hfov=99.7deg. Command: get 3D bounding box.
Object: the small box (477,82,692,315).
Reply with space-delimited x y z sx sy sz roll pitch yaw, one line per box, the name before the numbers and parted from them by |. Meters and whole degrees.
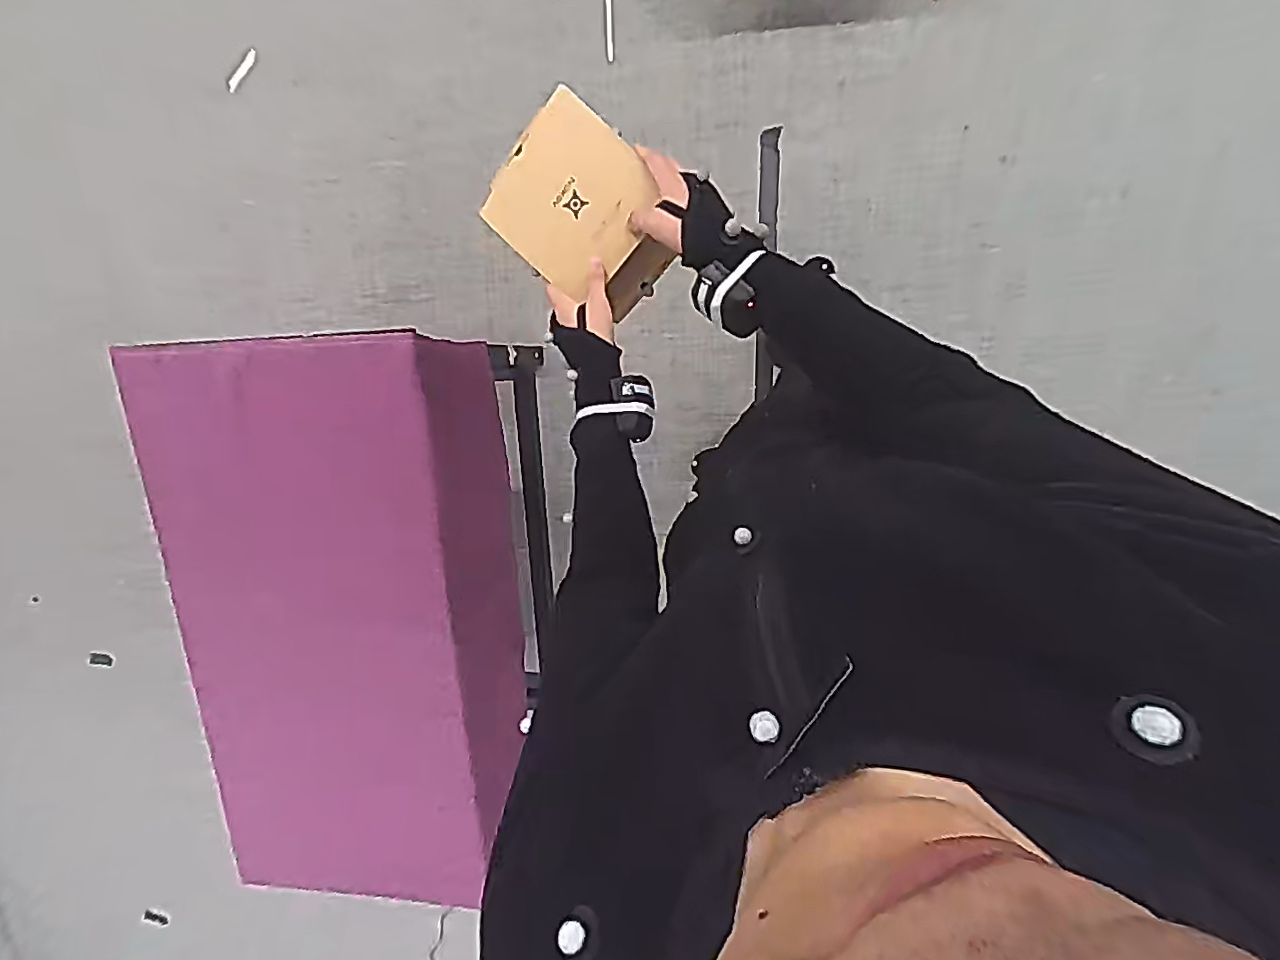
small box | -0.057 -0.325 0.672 0.179 0.176 0.168 44 107 2
